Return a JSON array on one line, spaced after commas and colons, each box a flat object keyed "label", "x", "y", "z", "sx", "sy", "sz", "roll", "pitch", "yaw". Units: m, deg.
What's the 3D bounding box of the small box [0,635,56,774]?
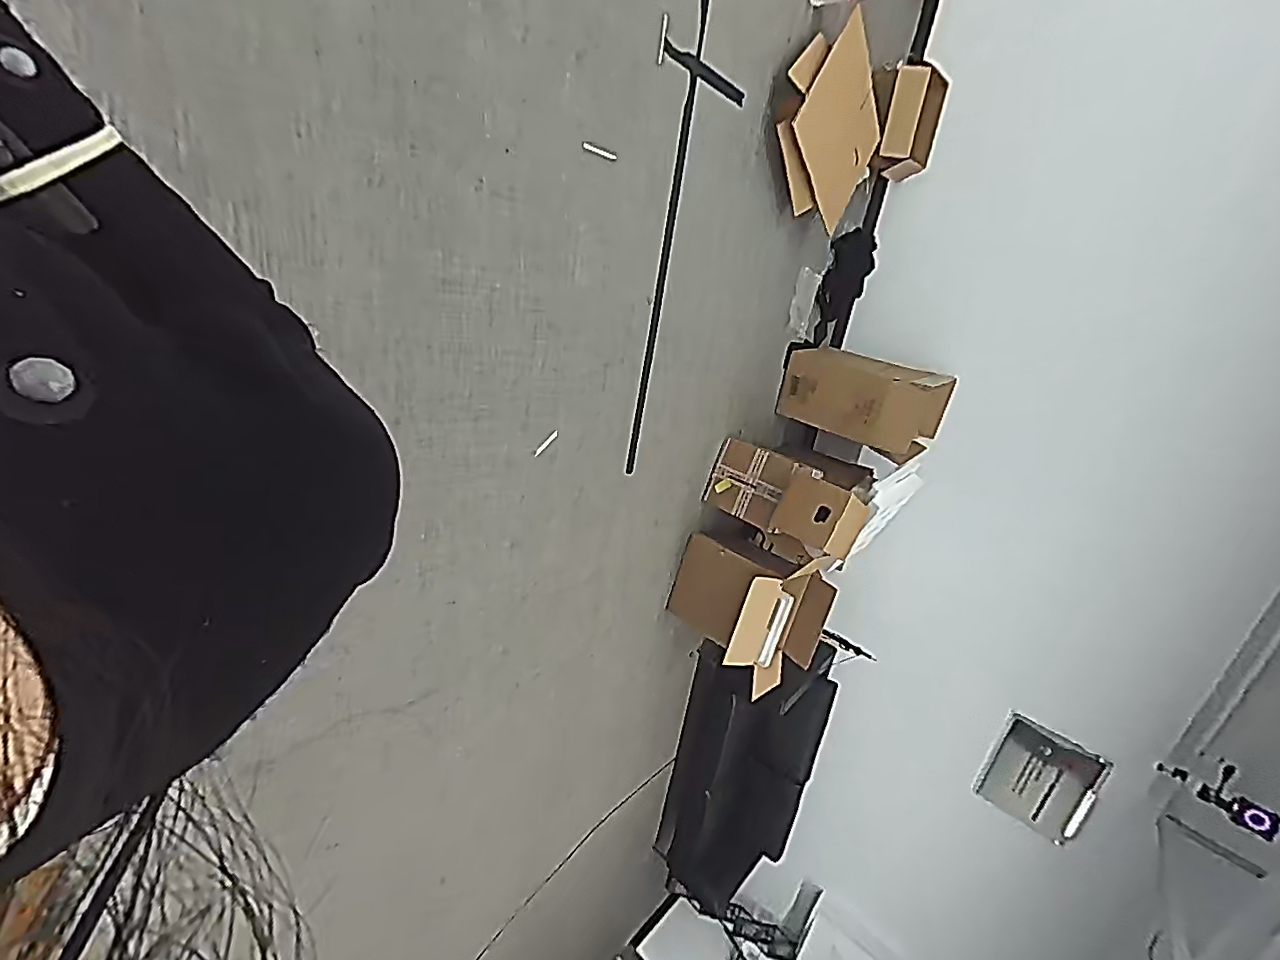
[{"label": "small box", "x": -1.049, "y": 0.369, "z": 0.831, "sx": 0.179, "sy": 0.176, "sz": 0.168, "roll": -14, "pitch": 120, "yaw": -46}]

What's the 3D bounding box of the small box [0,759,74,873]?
[{"label": "small box", "x": -0.804, "y": 0.482, "z": 0.643, "sx": 0.179, "sy": 0.176, "sz": 0.168, "roll": -10, "pitch": 118, "yaw": -49}]

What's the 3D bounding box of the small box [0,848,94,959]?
[{"label": "small box", "x": -0.684, "y": 0.538, "z": 0.550, "sx": 0.179, "sy": 0.176, "sz": 0.168, "roll": -10, "pitch": 117, "yaw": -50}]
